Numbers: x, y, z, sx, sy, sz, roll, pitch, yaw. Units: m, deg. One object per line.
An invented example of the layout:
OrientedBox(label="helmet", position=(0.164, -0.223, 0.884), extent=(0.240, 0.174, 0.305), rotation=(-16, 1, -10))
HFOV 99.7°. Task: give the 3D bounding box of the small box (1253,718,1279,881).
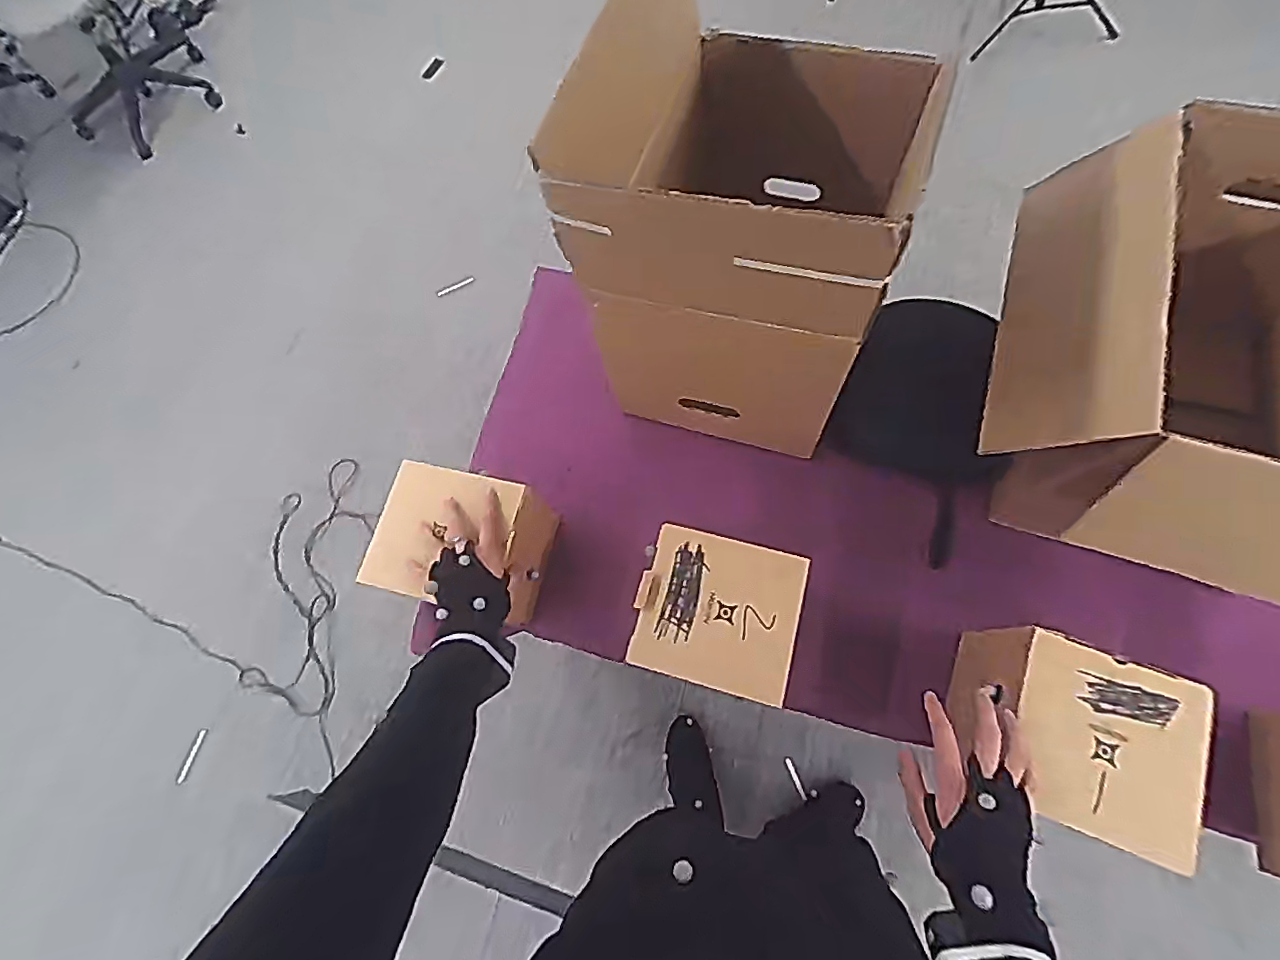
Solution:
OrientedBox(label="small box", position=(0.781, 0.351, 0.539), extent=(0.168, 0.176, 0.179), rotation=(12, 73, 11))

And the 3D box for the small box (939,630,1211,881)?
OrientedBox(label="small box", position=(0.462, 0.283, 0.600), extent=(0.168, 0.176, 0.179), rotation=(19, 75, 13))

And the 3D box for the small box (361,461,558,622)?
OrientedBox(label="small box", position=(-0.231, 0.092, 0.743), extent=(0.179, 0.176, 0.168), rotation=(12, 73, 9))
